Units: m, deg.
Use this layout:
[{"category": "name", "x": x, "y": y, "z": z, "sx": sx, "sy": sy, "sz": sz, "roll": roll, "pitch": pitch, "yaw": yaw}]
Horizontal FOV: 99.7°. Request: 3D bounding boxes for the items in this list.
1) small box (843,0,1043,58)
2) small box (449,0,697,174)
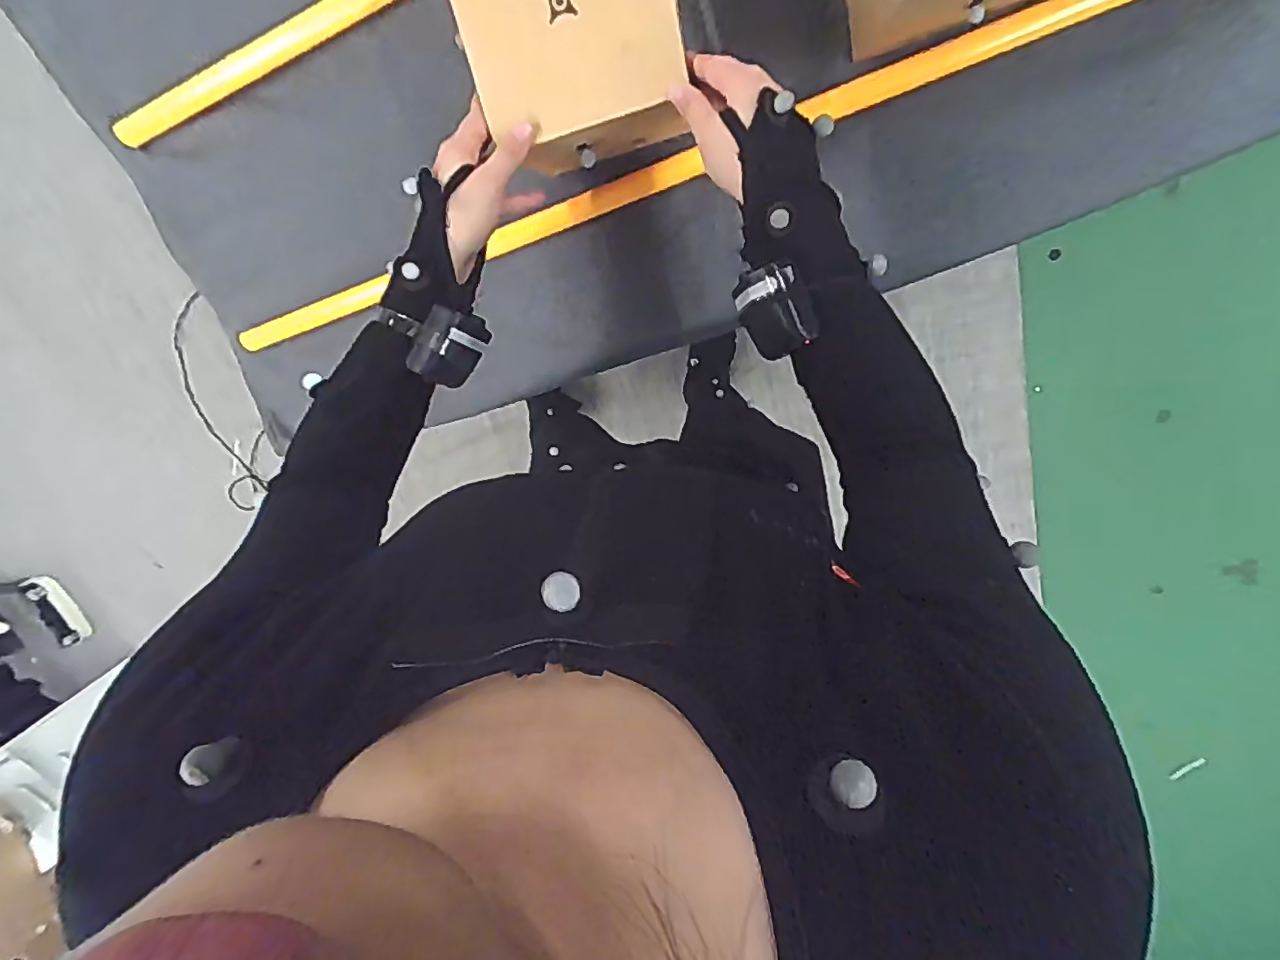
[{"category": "small box", "x": 0.243, "y": -0.445, "z": 0.394, "sx": 0.168, "sy": 0.176, "sz": 0.179, "roll": -10, "pitch": 112, "yaw": 15}, {"category": "small box", "x": -0.048, "y": -0.384, "z": 0.471, "sx": 0.168, "sy": 0.176, "sz": 0.179, "roll": -10, "pitch": 112, "yaw": 13}]
